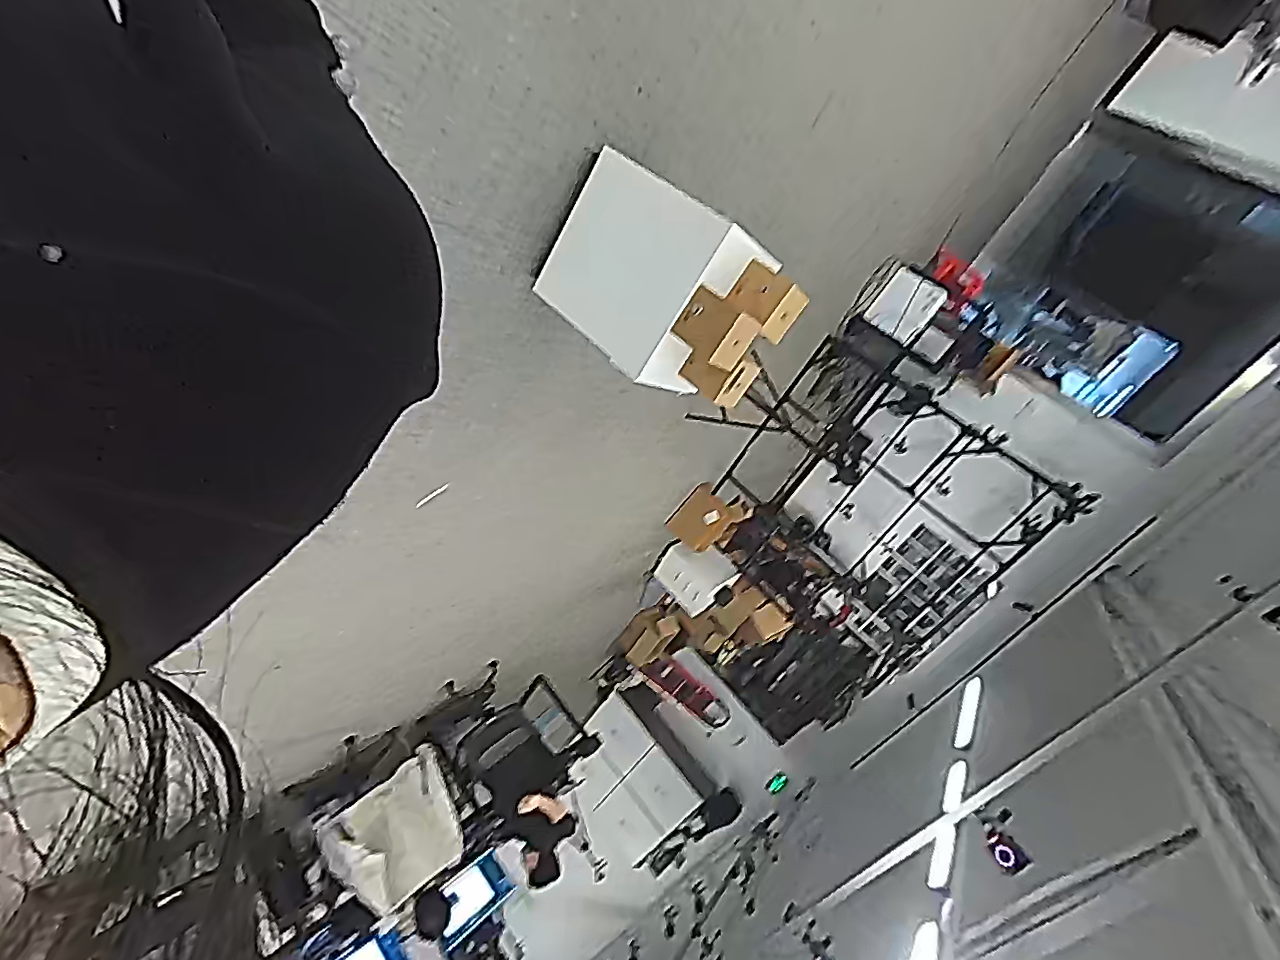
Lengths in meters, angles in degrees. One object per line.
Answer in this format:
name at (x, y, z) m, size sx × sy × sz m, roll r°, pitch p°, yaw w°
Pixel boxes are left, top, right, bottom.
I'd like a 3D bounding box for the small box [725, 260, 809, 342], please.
small box at (0.396, -0.565, 1.701) m, size 0.168 × 0.176 × 0.179 m, roll -54°, pitch 155°, yaw 19°
